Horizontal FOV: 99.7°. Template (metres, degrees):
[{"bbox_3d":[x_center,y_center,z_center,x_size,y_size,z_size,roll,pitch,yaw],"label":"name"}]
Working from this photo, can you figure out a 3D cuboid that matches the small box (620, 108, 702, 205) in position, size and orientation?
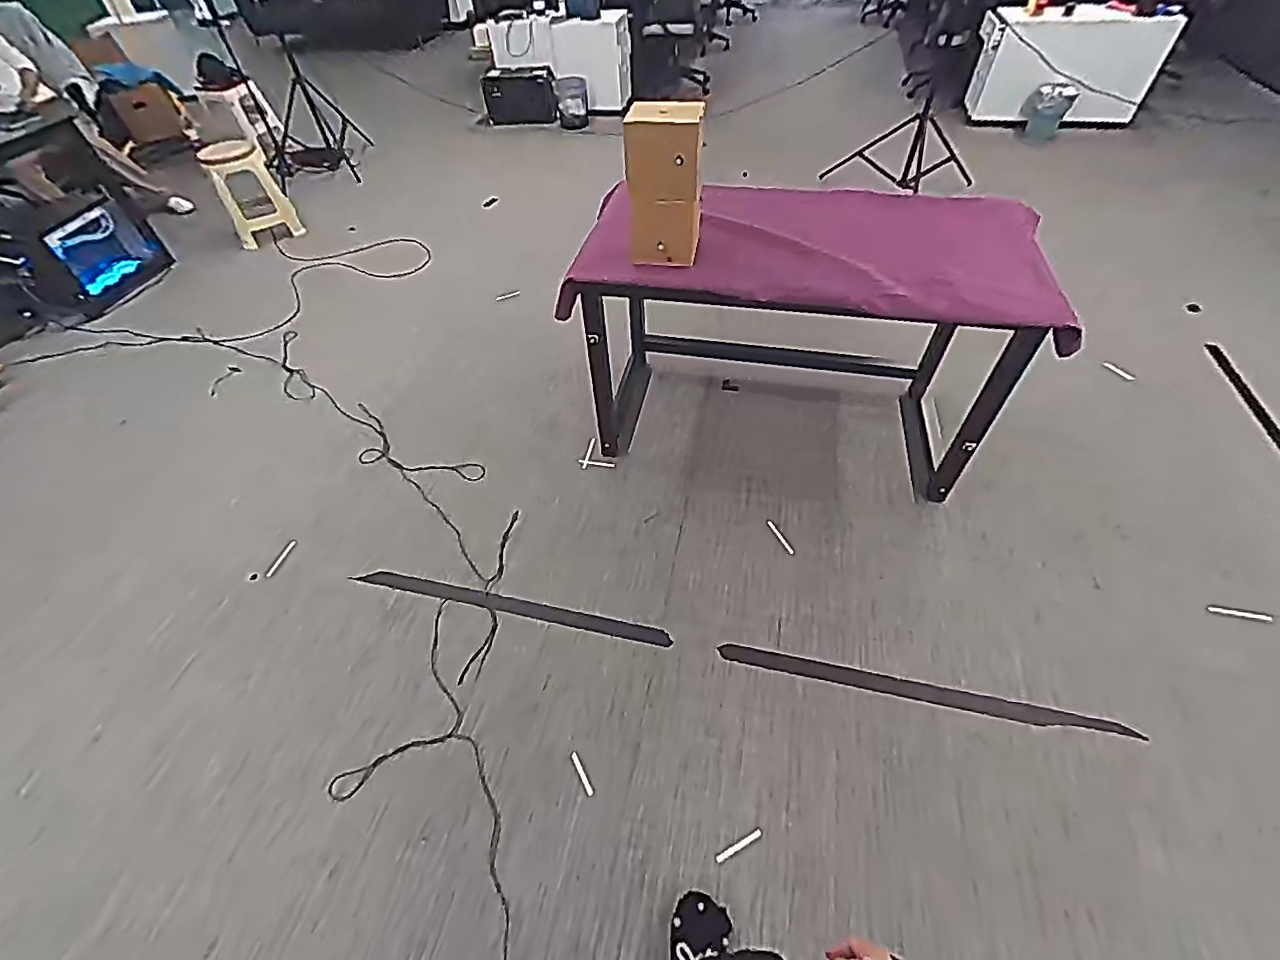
[{"bbox_3d":[0.054,-0.790,1.326,0.179,0.176,0.168,5,48,8],"label":"small box"}]

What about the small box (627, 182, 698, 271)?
[{"bbox_3d":[0.062,-0.683,1.447,0.168,0.176,0.179,6,50,8],"label":"small box"}]
